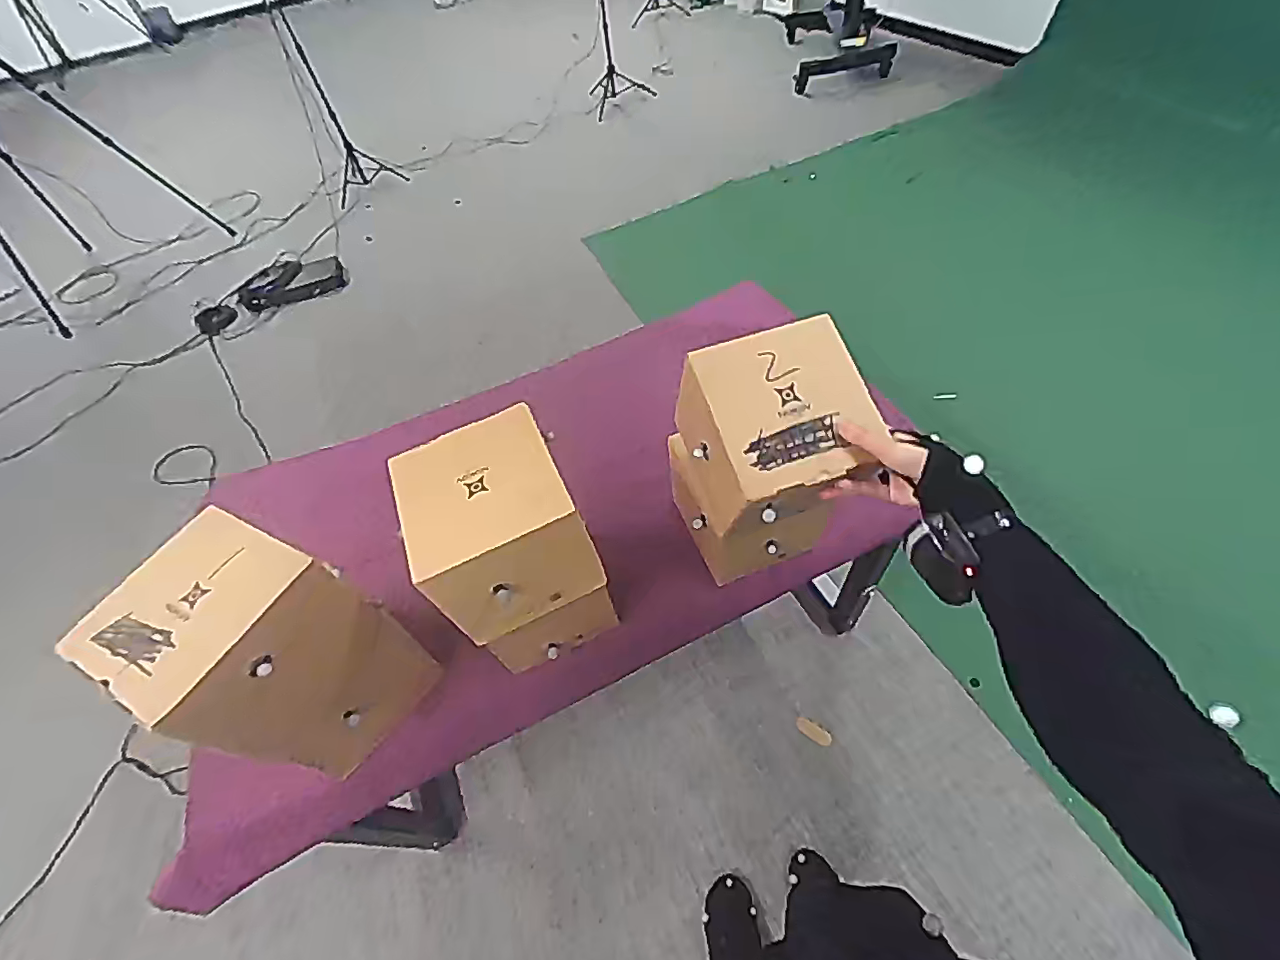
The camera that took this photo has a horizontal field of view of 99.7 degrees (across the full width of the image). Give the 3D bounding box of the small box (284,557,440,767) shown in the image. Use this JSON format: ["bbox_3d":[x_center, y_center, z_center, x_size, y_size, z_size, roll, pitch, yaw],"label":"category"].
[{"bbox_3d":[-0.401,0.242,0.710,0.168,0.176,0.179,31,64,27],"label":"small box"}]

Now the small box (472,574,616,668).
[{"bbox_3d":[-0.148,0.132,0.759,0.168,0.176,0.179,-24,54,-9],"label":"small box"}]

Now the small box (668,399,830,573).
[{"bbox_3d":[0.152,0.017,0.801,0.168,0.176,0.179,-20,54,-7],"label":"small box"}]

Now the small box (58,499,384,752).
[{"bbox_3d":[-0.414,0.156,0.570,0.168,0.176,0.179,20,57,21],"label":"small box"}]

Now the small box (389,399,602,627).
[{"bbox_3d":[-0.158,0.046,0.621,0.168,0.176,0.179,-25,53,-9],"label":"small box"}]
